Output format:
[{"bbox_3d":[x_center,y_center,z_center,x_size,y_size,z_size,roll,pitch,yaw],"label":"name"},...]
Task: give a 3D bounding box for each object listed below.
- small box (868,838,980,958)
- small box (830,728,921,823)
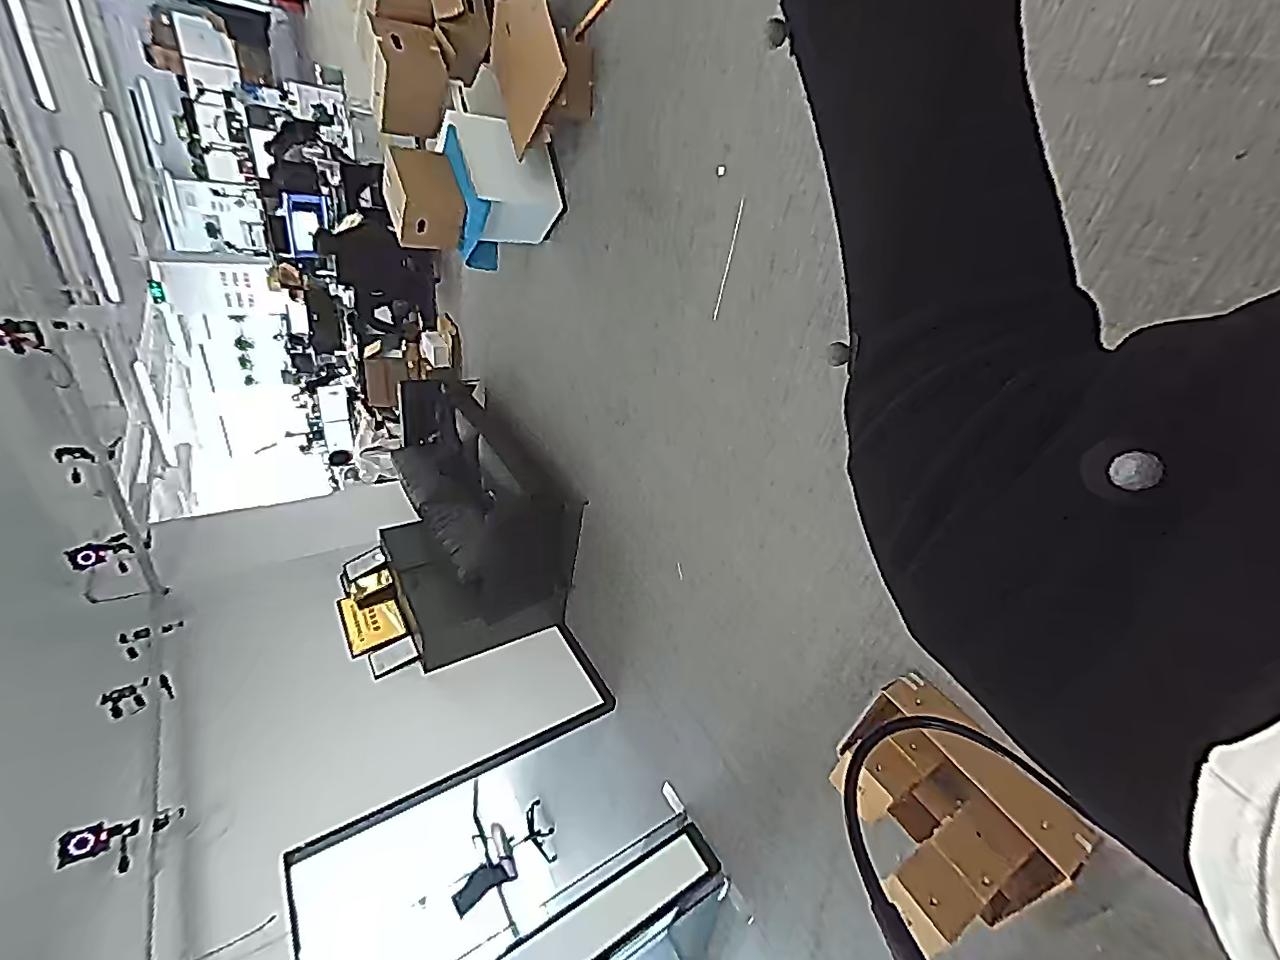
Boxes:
[{"bbox_3d":[0.762,1.114,1.448,0.179,0.176,0.168,48,138,39],"label":"small box"},{"bbox_3d":[0.750,0.929,1.716,0.179,0.176,0.168,45,134,40],"label":"small box"}]
